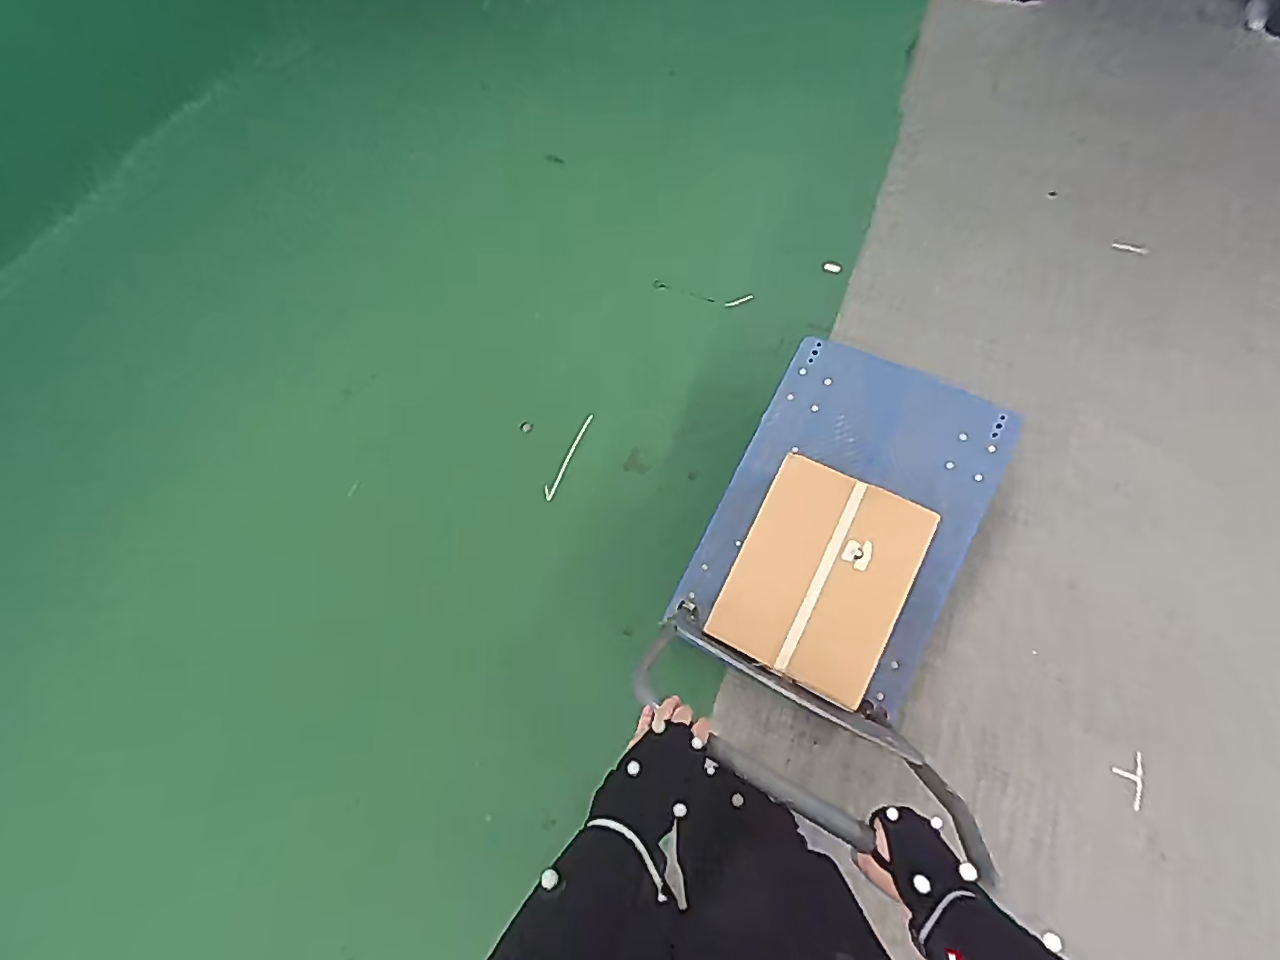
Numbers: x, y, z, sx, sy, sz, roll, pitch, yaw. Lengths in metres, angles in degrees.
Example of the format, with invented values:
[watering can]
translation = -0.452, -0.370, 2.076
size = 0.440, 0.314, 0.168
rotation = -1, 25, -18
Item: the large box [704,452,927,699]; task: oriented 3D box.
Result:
[large box]
translation = 0.369, 0.211, 1.211
size = 0.320, 0.320, 0.408
rotation = 25, 82, 13
